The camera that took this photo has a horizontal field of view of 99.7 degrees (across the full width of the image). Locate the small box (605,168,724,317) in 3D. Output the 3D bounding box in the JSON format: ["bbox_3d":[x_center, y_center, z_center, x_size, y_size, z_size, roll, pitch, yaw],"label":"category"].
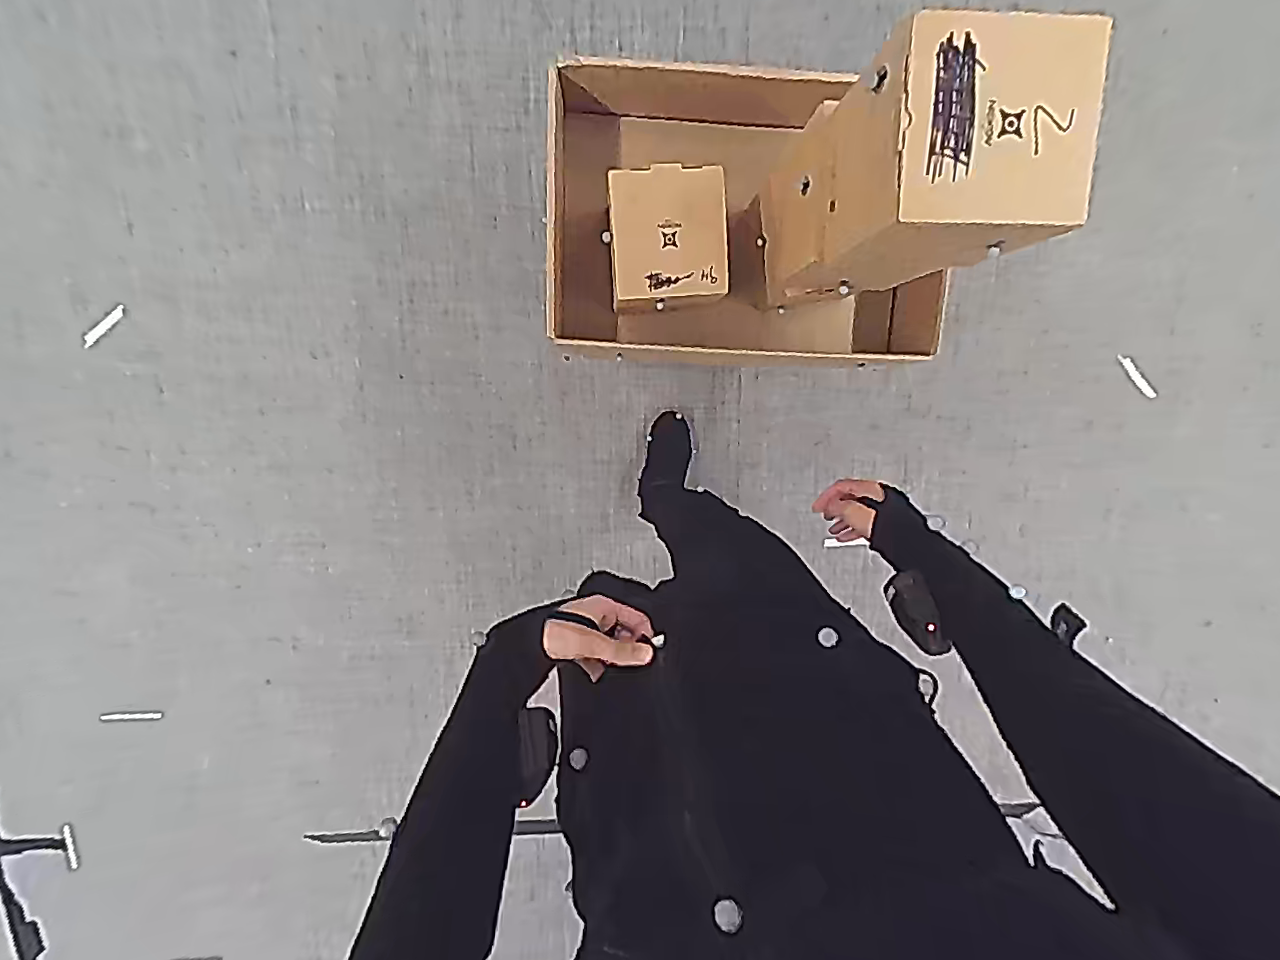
[{"bbox_3d":[0.031,-0.360,0.847,0.168,0.176,0.179,-4,100,-2],"label":"small box"}]

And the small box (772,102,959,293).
[{"bbox_3d":[0.275,-0.349,0.699,0.168,0.176,0.179,0,101,-2],"label":"small box"}]
